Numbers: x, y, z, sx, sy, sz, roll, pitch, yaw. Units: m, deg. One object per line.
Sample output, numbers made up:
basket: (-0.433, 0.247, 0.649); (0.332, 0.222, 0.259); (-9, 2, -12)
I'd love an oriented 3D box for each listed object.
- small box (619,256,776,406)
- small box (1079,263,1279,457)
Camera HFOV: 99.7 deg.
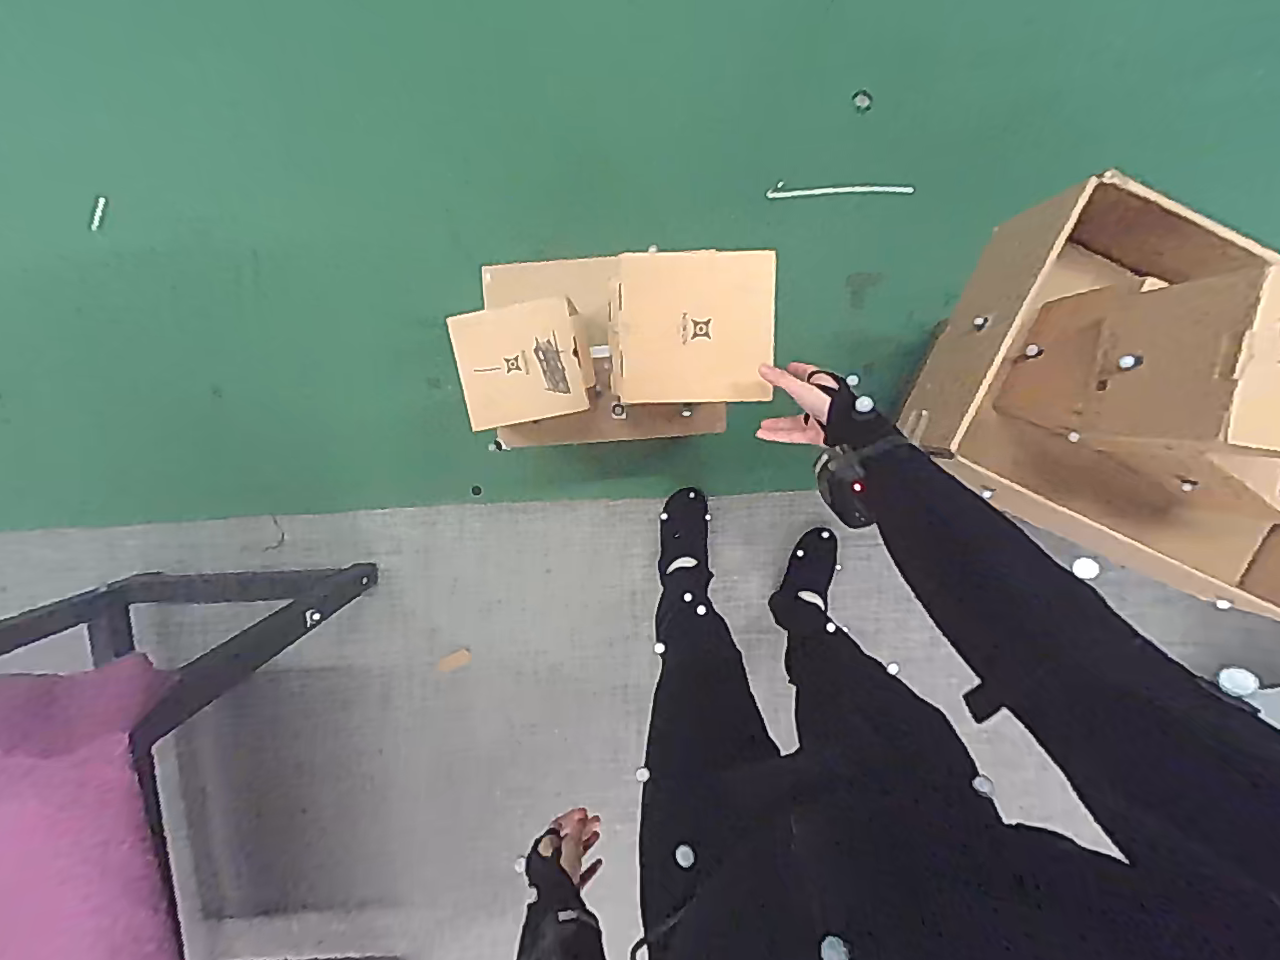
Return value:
small box: (0.065, -0.180, 0.688); (0.179, 0.176, 0.168); (-1, 99, 2)
small box: (0.636, -0.116, 0.579); (0.179, 0.176, 0.168); (8, 97, -1)
